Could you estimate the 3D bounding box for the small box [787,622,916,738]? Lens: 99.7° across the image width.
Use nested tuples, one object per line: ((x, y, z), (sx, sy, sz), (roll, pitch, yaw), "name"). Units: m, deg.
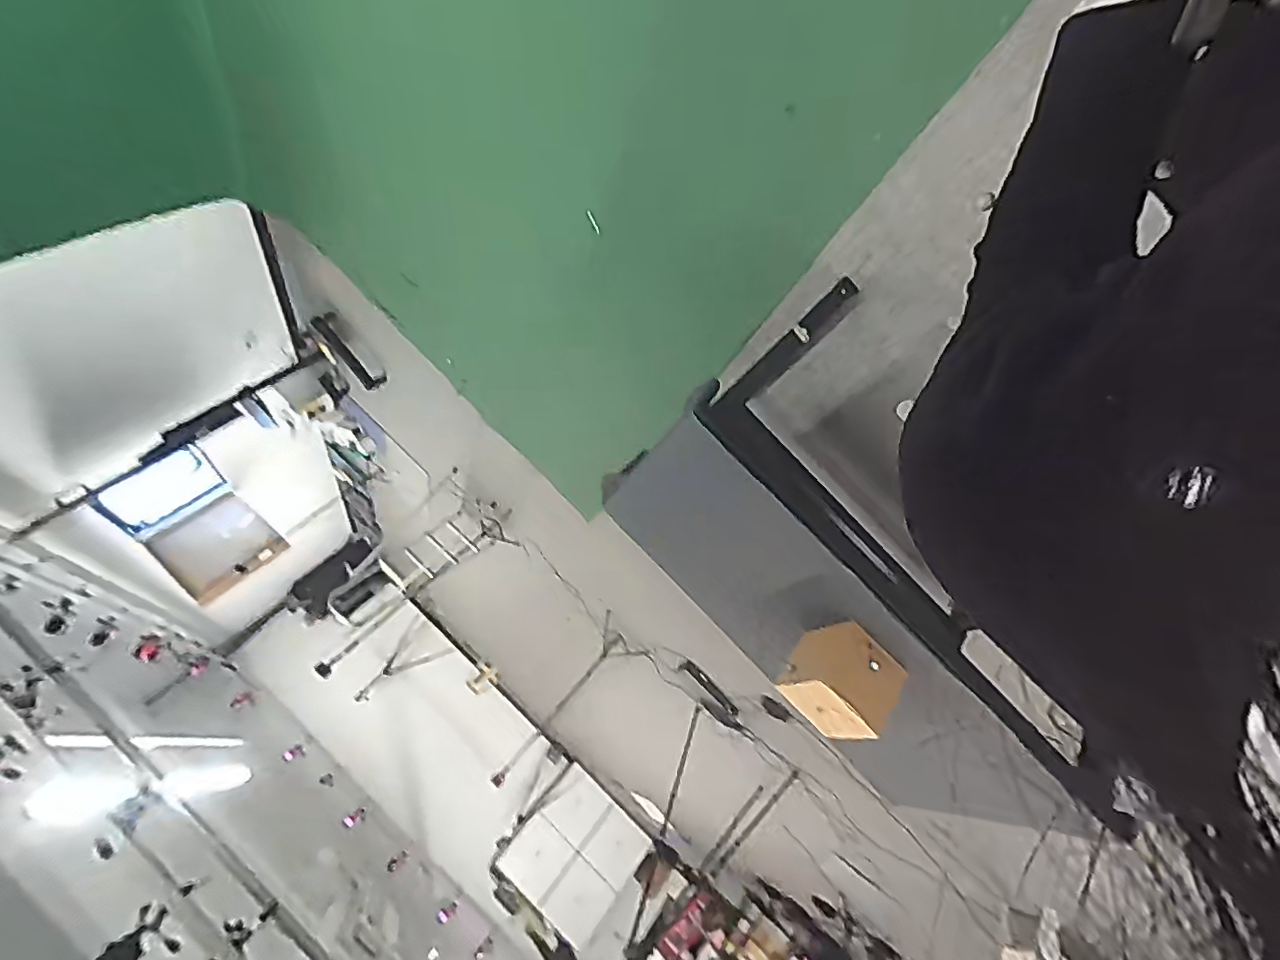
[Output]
((0.468, 0.440, 1.194), (0.168, 0.176, 0.179), (43, 149, 3), "small box")
